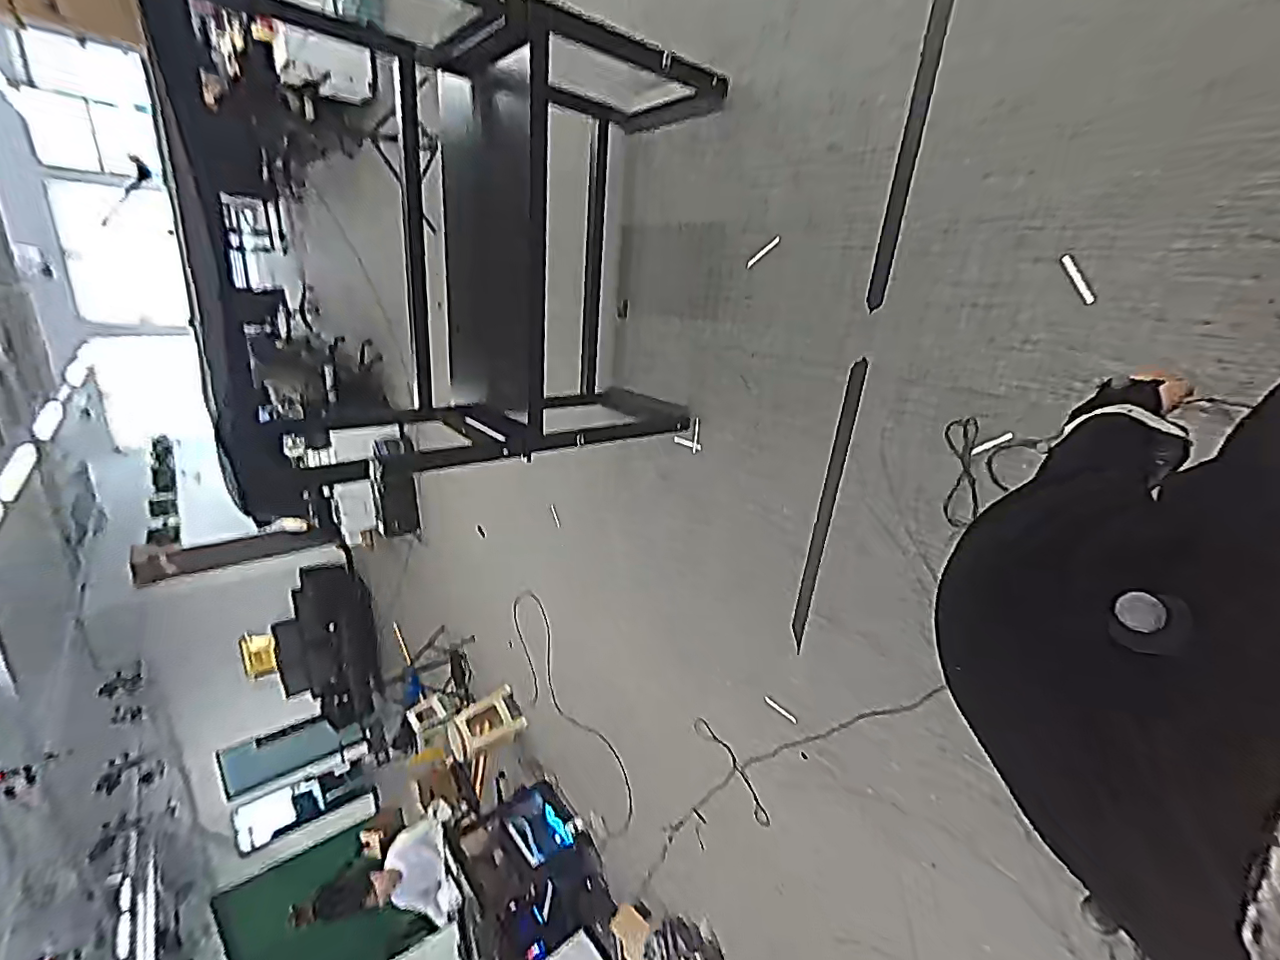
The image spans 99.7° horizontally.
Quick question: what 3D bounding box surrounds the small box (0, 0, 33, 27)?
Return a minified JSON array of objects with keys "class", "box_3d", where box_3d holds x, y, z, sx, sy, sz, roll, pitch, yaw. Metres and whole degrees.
[{"class":"small box","box_3d":[-1.118,-0.858,0.859,0.179,0.176,0.168,32,125,44]}]
